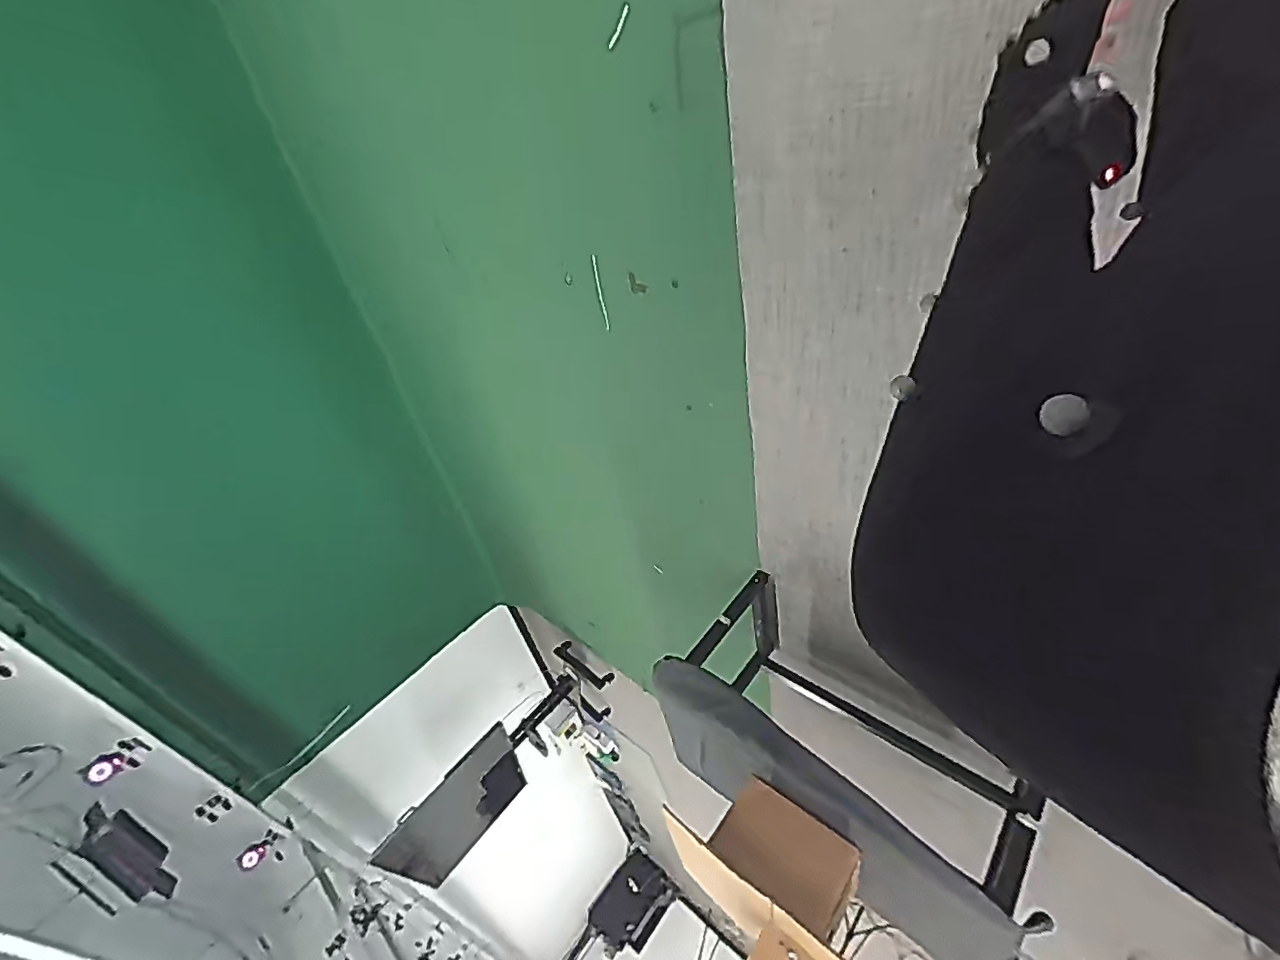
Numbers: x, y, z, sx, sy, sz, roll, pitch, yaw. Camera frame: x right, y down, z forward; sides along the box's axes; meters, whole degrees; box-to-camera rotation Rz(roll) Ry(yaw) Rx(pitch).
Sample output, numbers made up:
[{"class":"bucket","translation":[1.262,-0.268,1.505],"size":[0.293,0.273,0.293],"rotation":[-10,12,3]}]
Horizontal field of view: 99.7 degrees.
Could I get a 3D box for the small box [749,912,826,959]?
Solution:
[{"class":"small box","translation":[0.427,1.421,1.574],"size":[0.168,0.176,0.179],"rotation":[21,137,38]}]
